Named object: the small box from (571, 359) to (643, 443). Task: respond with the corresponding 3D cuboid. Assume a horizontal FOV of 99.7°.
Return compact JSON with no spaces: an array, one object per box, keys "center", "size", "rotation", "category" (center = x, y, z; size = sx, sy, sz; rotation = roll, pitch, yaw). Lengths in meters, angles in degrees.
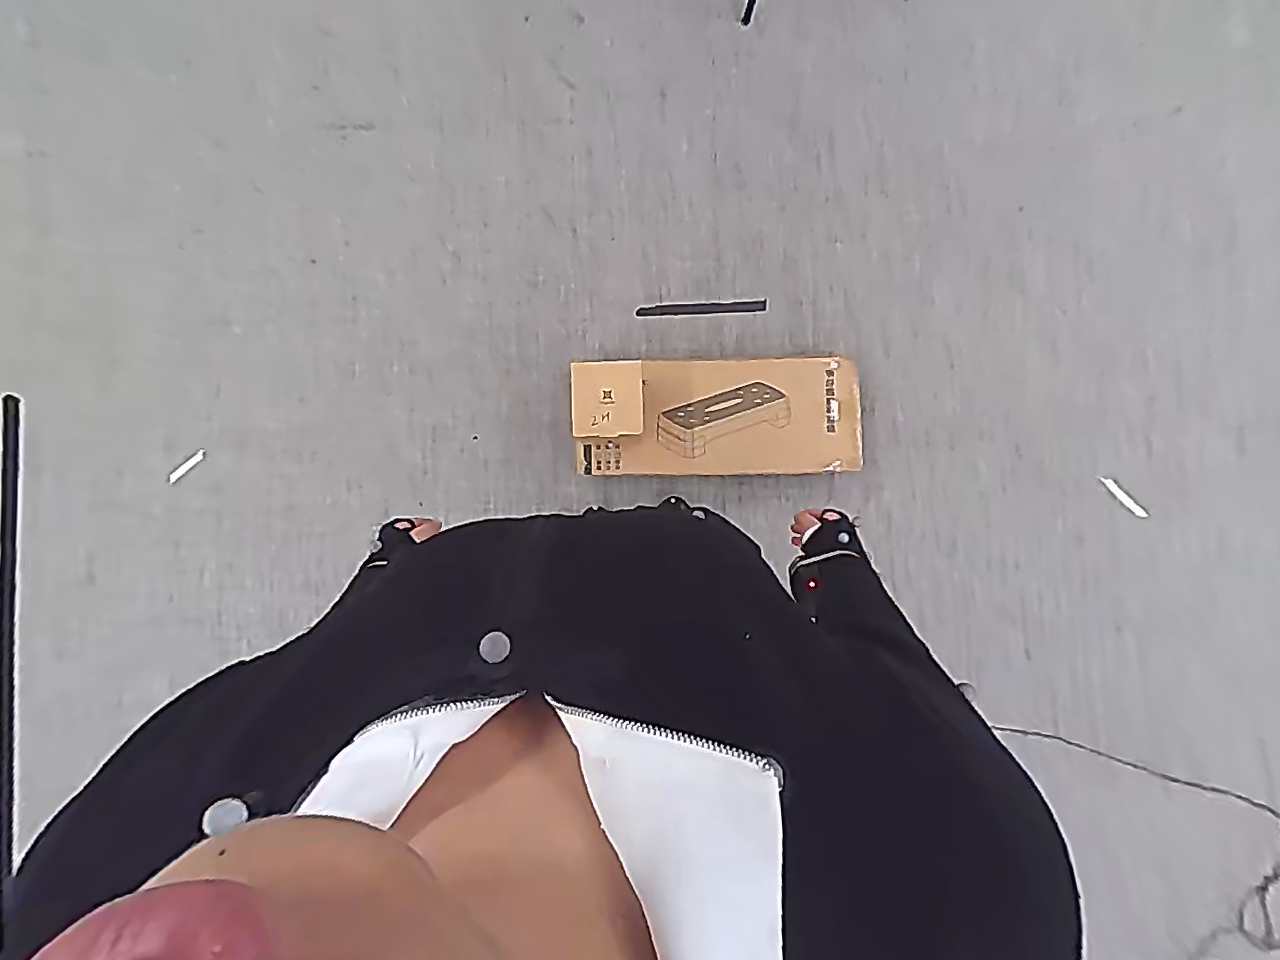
[{"center":[-0.076,-0.187,1.323],"size":[0.168,0.176,0.179],"rotation":[-1,88,1],"category":"small box"}]
